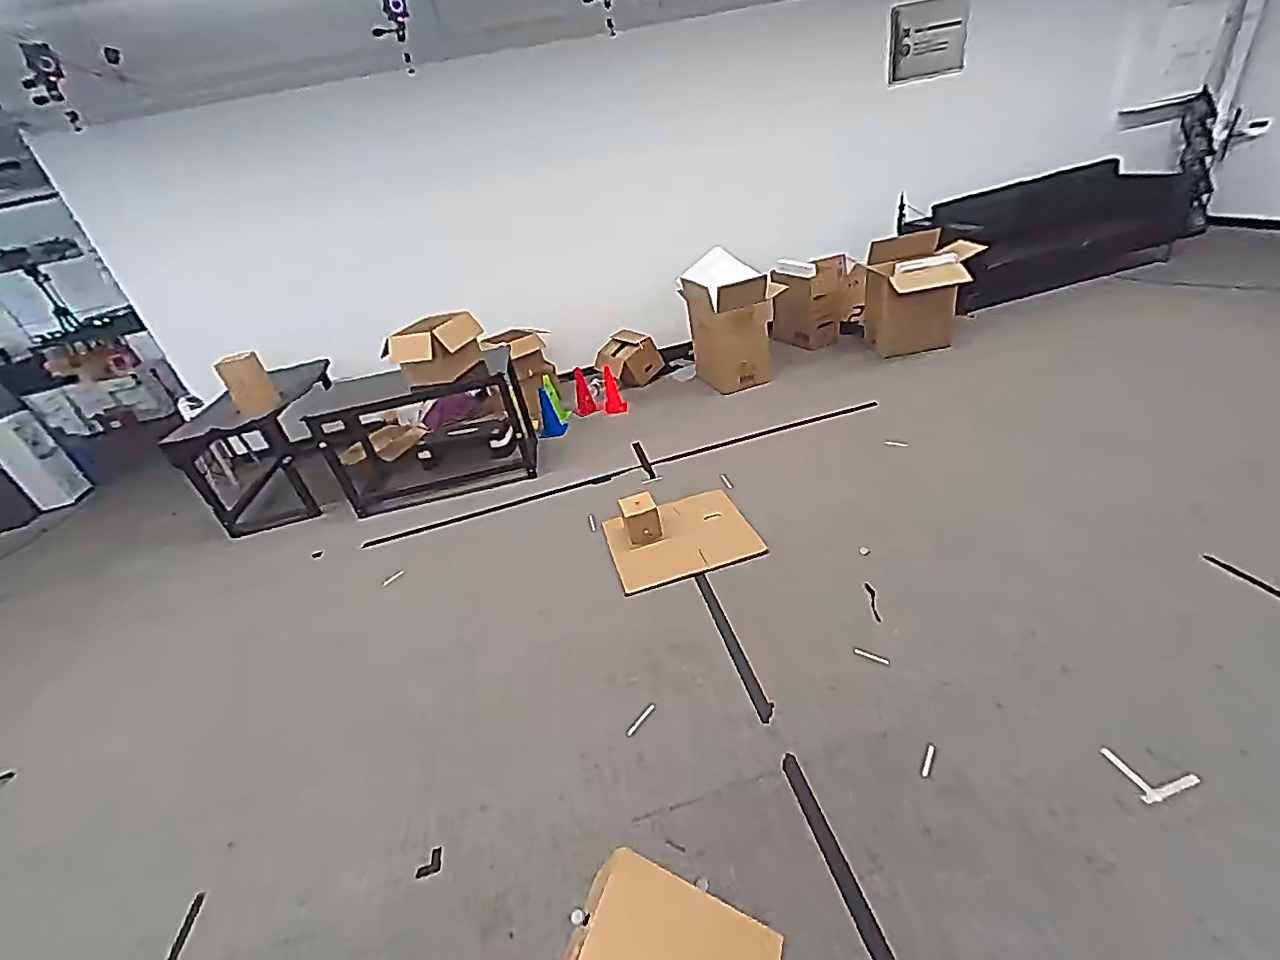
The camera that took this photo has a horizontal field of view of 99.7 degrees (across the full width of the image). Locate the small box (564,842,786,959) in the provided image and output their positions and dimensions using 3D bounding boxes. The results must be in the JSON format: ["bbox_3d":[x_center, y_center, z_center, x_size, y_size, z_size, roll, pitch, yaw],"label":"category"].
[{"bbox_3d":[0.014,0.495,0.525,0.179,0.176,0.168,25,48,8],"label":"small box"}]

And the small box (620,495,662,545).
[{"bbox_3d":[0.004,0.208,2.774,0.168,0.176,0.179,-17,31,-7],"label":"small box"}]
